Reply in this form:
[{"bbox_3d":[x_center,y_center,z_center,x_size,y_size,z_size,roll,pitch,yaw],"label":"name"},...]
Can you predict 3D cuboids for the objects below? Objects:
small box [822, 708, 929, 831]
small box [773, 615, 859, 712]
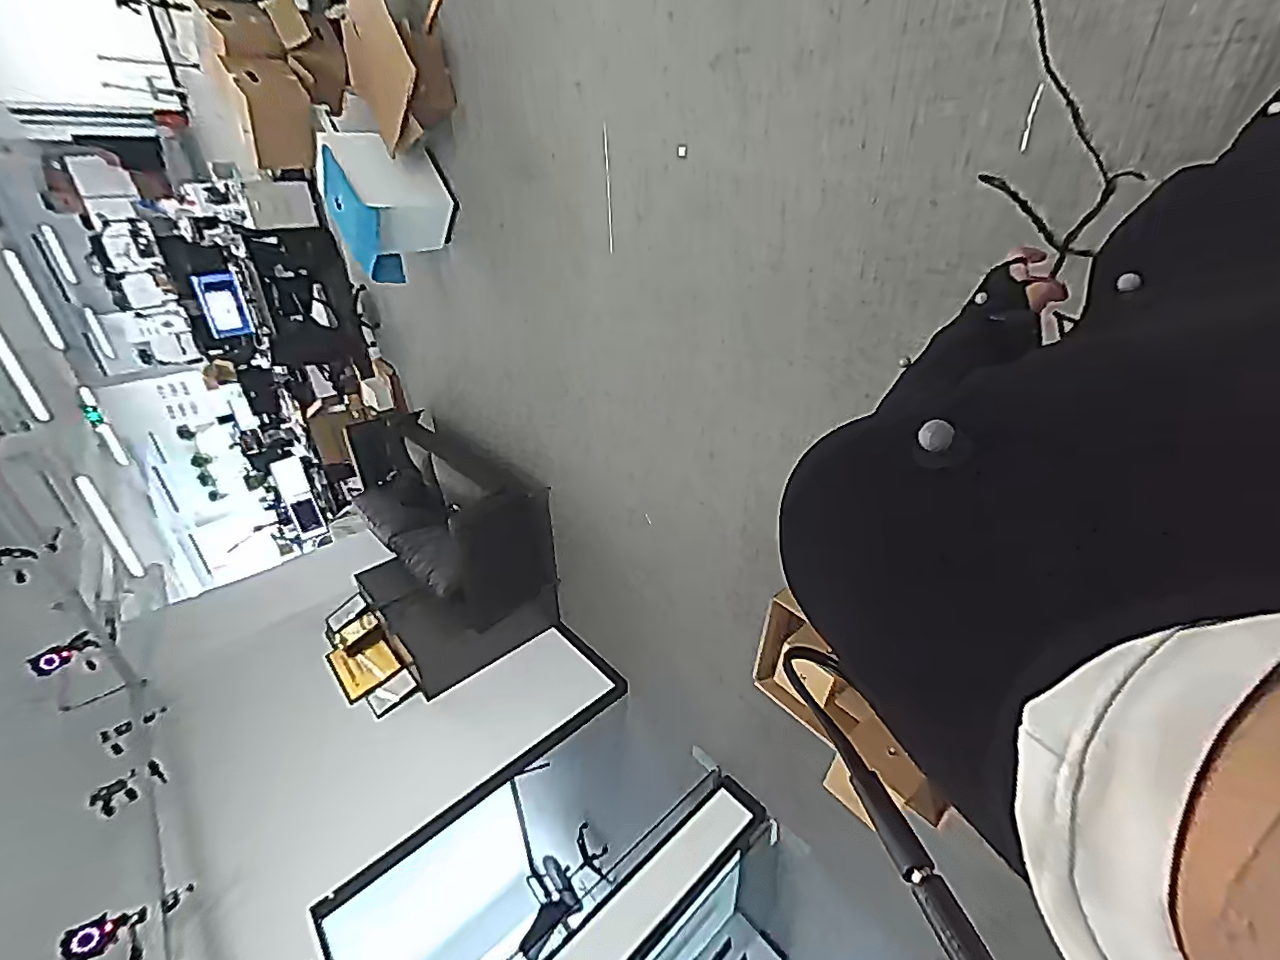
[{"bbox_3d":[0.587,0.710,1.343,0.168,0.176,0.179,34,134,37],"label":"small box"},{"bbox_3d":[0.526,0.539,1.609,0.168,0.176,0.179,33,134,37],"label":"small box"}]
